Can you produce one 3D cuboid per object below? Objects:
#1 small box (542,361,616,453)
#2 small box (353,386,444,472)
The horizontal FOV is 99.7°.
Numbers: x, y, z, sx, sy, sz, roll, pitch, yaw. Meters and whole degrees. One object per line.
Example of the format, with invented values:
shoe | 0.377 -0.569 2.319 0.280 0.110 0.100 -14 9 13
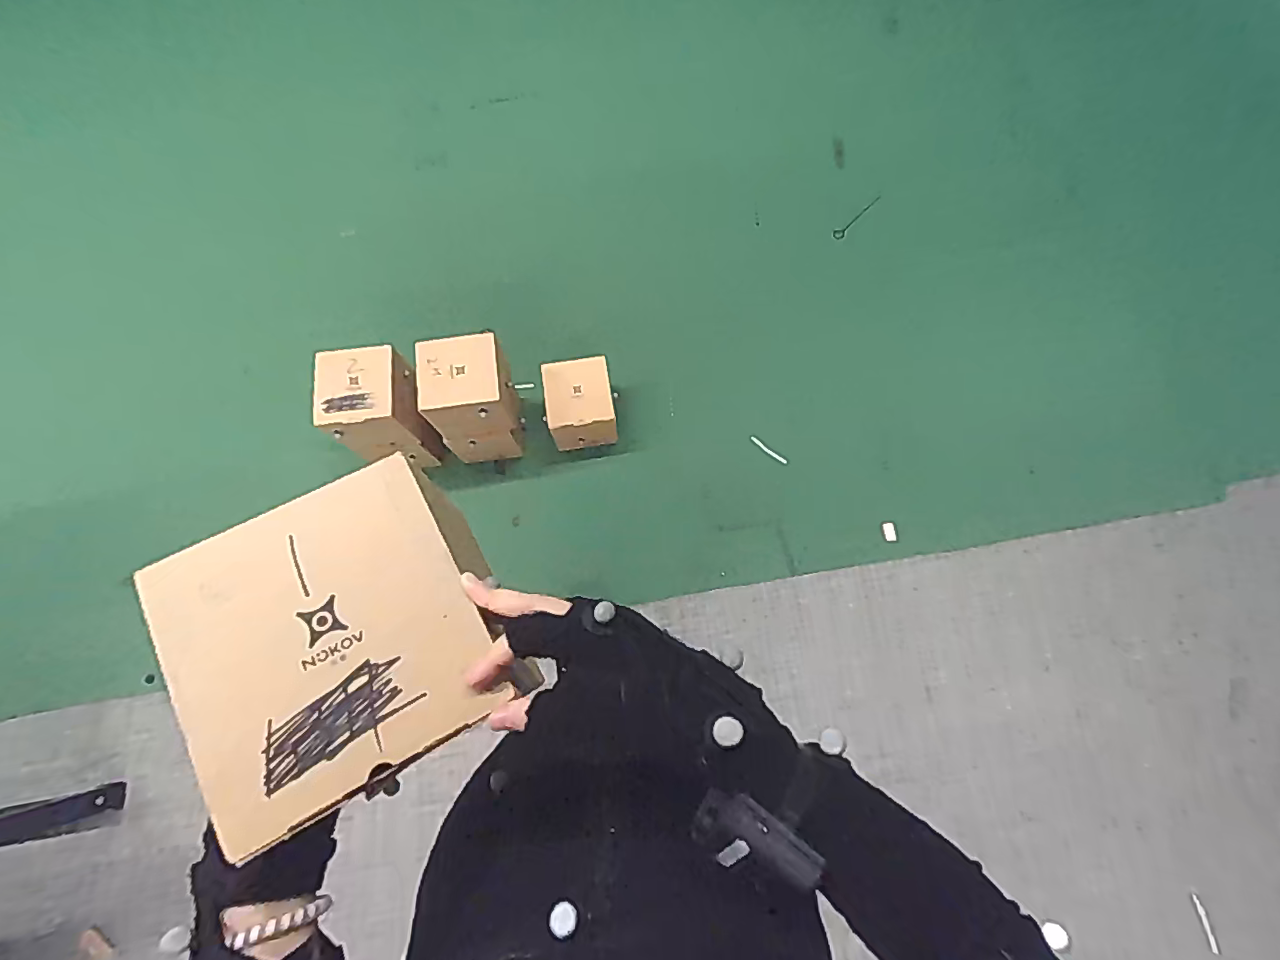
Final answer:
small box | -0.157 -0.188 1.423 0.168 0.176 0.179 -9 75 -3
small box | -0.618 -0.124 1.404 0.168 0.176 0.179 -5 74 -1
